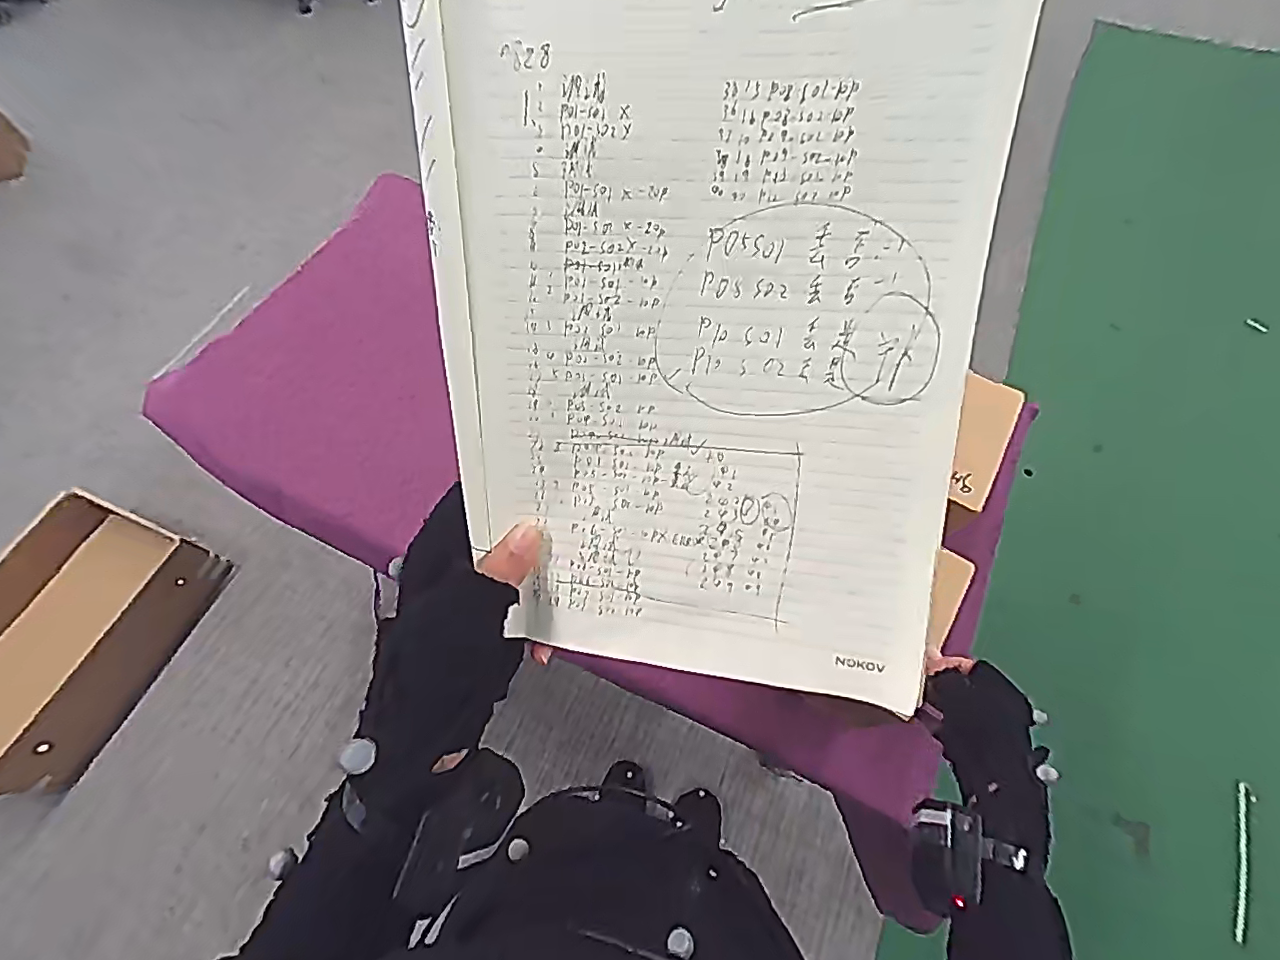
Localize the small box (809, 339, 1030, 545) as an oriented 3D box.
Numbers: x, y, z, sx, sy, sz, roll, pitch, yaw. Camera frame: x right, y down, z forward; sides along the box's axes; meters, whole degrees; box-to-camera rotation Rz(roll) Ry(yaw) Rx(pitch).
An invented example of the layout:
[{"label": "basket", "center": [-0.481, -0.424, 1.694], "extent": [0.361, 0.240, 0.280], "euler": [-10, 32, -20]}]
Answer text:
[{"label": "small box", "center": [0.332, -0.033, 0.674], "extent": [0.168, 0.176, 0.179], "euler": [29, 68, 16]}]

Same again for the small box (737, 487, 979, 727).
[{"label": "small box", "center": [0.220, 0.144, 0.593], "extent": [0.168, 0.176, 0.179], "euler": [31, 69, 17]}]
